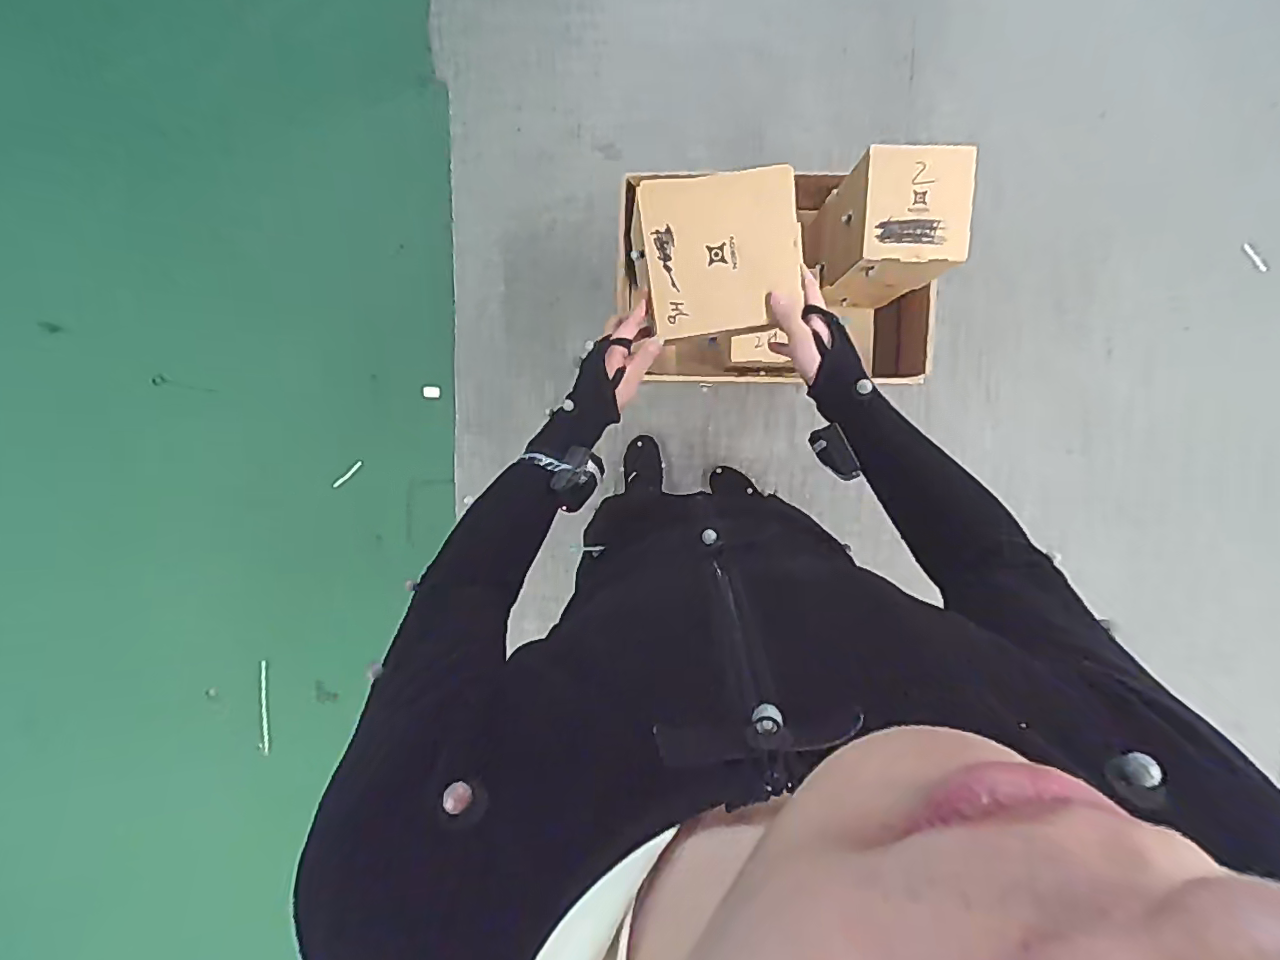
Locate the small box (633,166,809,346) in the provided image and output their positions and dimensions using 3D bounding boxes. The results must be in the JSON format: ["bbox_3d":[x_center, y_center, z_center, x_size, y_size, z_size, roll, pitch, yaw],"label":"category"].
[{"bbox_3d":[0.091,-0.265,0.675,0.179,0.176,0.168,-9,100,-2],"label":"small box"}]

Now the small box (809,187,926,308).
[{"bbox_3d":[0.445,-0.457,1.082,0.168,0.176,0.179,3,96,2],"label":"small box"}]
